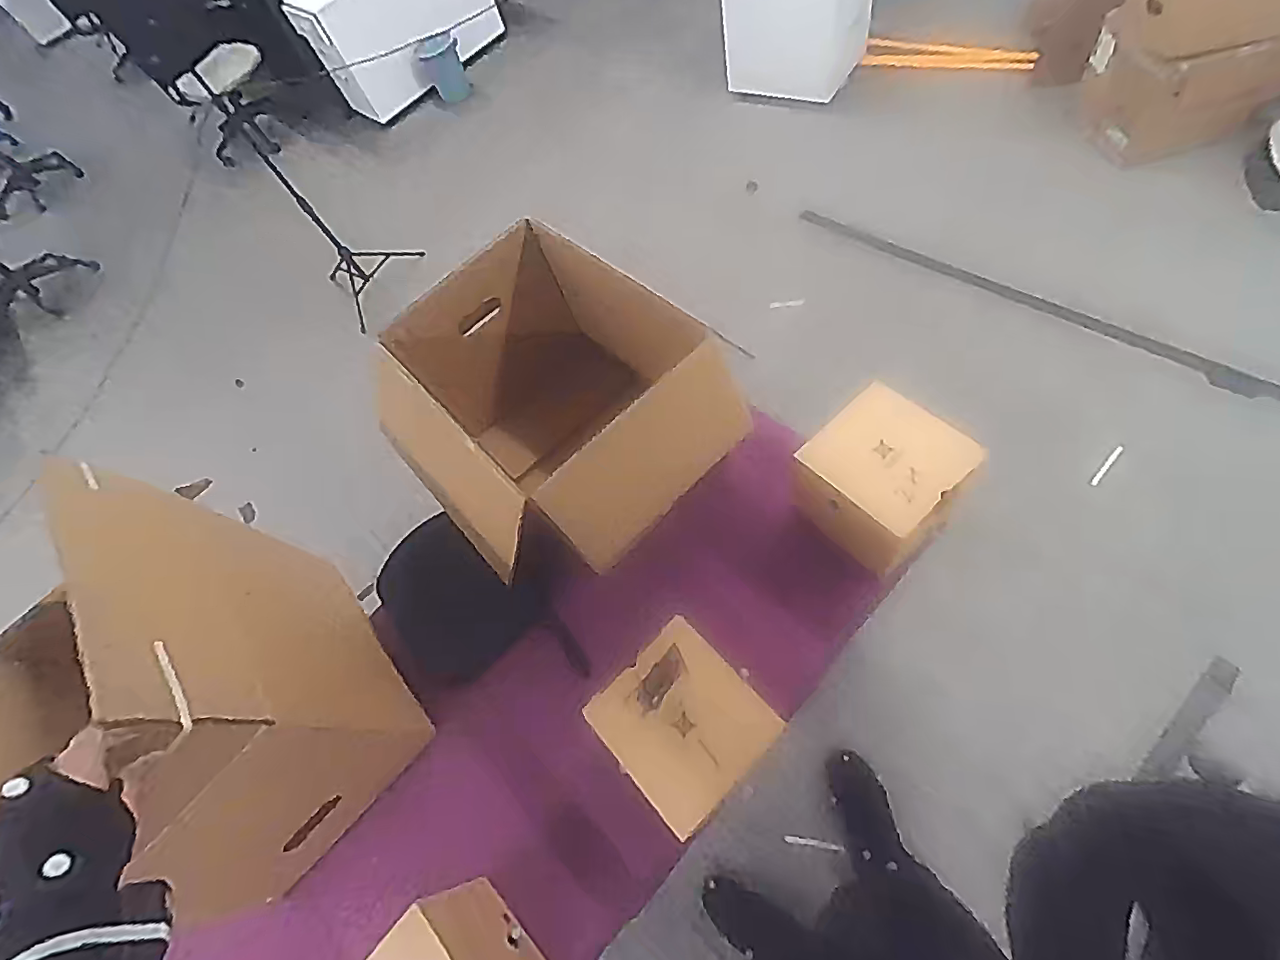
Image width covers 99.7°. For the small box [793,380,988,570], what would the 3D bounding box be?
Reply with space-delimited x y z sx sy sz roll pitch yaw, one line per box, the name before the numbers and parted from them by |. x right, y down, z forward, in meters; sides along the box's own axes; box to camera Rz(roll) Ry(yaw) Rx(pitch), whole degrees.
small box | 0.337 -0.001 0.767 0.168 0.176 0.179 -42 61 -7

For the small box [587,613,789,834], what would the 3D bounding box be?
small box | 0.066 0.303 0.685 0.168 0.176 0.179 -44 62 -8
